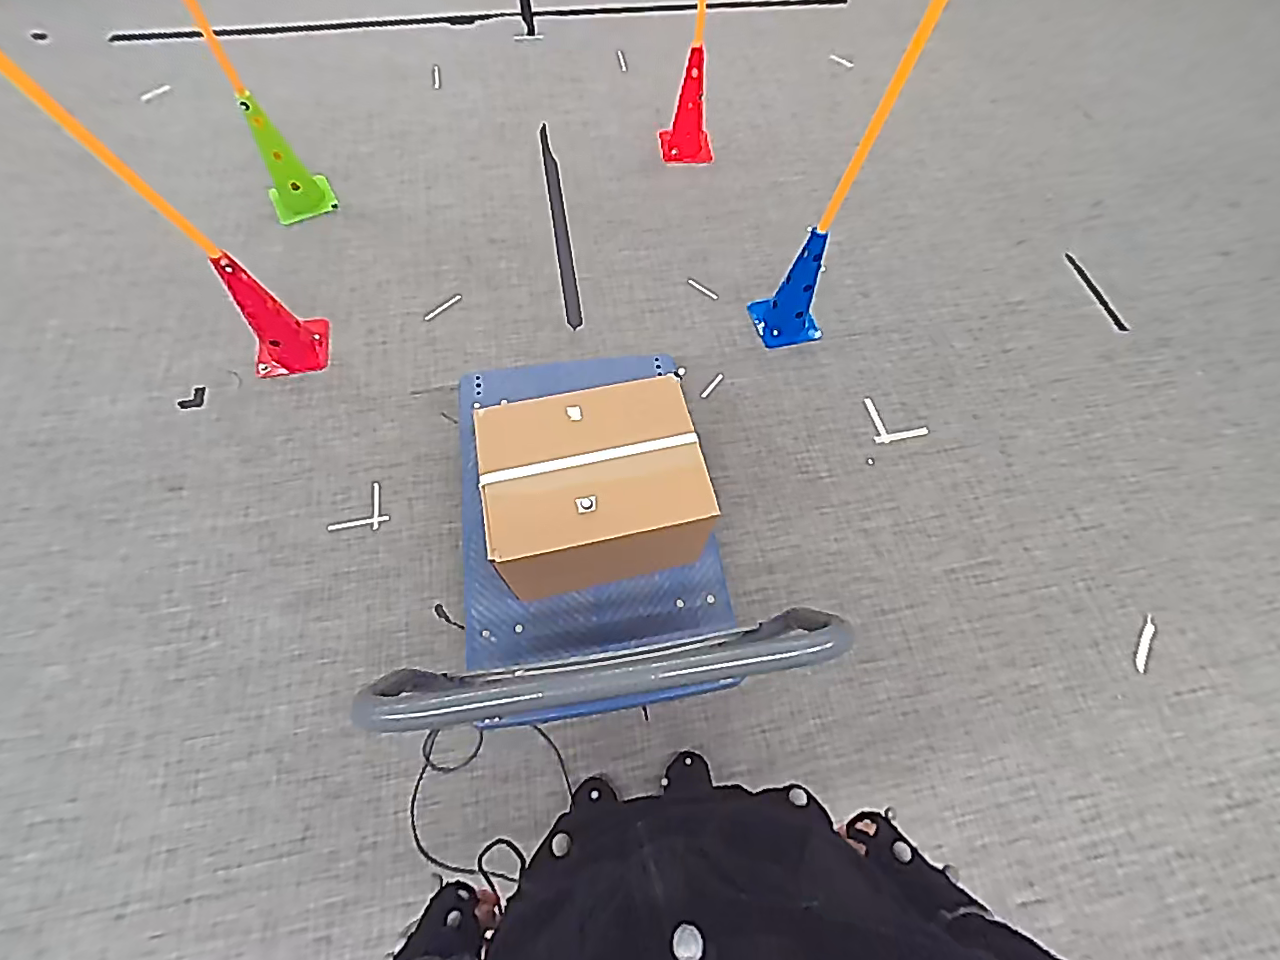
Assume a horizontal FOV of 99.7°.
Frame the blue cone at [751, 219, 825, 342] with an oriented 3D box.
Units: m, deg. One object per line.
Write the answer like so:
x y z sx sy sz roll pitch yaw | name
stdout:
0.485 -0.609 1.637 0.193 0.380 0.192 -12 65 -9 | blue cone

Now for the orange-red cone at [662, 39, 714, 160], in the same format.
0.197 -1.402 1.981 0.199 0.360 0.198 -2 65 -5 | orange-red cone
